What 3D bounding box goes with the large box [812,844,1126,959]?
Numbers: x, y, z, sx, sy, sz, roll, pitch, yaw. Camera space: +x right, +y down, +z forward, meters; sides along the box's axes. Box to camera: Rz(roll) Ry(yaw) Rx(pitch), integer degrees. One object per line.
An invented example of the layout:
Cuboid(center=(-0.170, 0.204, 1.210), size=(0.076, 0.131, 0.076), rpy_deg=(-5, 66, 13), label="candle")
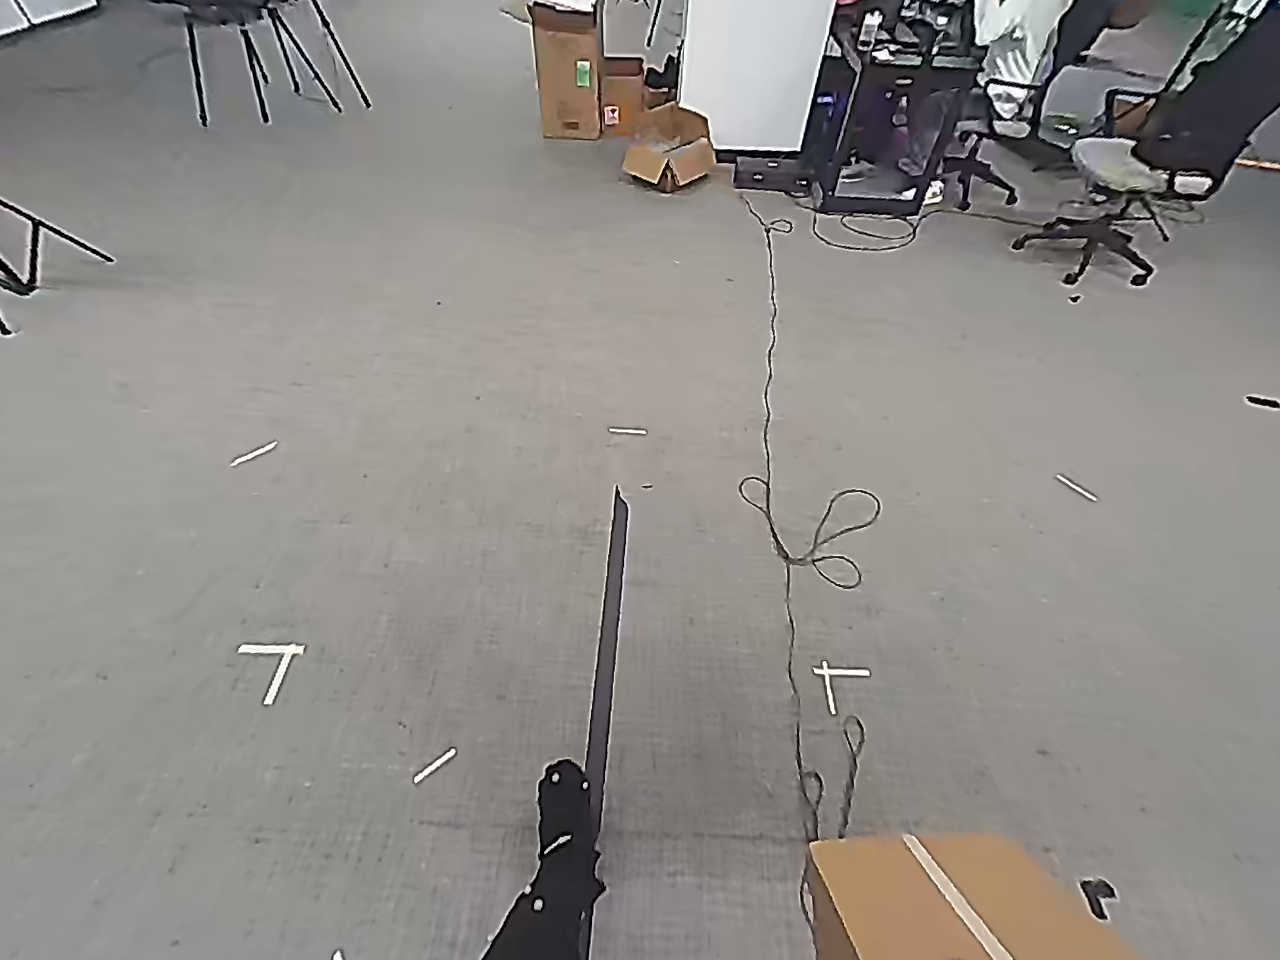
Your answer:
Cuboid(center=(0.423, 0.716, 0.642), size=(0.320, 0.408, 0.320), rpy_deg=(-4, 88, 1), label="large box")
